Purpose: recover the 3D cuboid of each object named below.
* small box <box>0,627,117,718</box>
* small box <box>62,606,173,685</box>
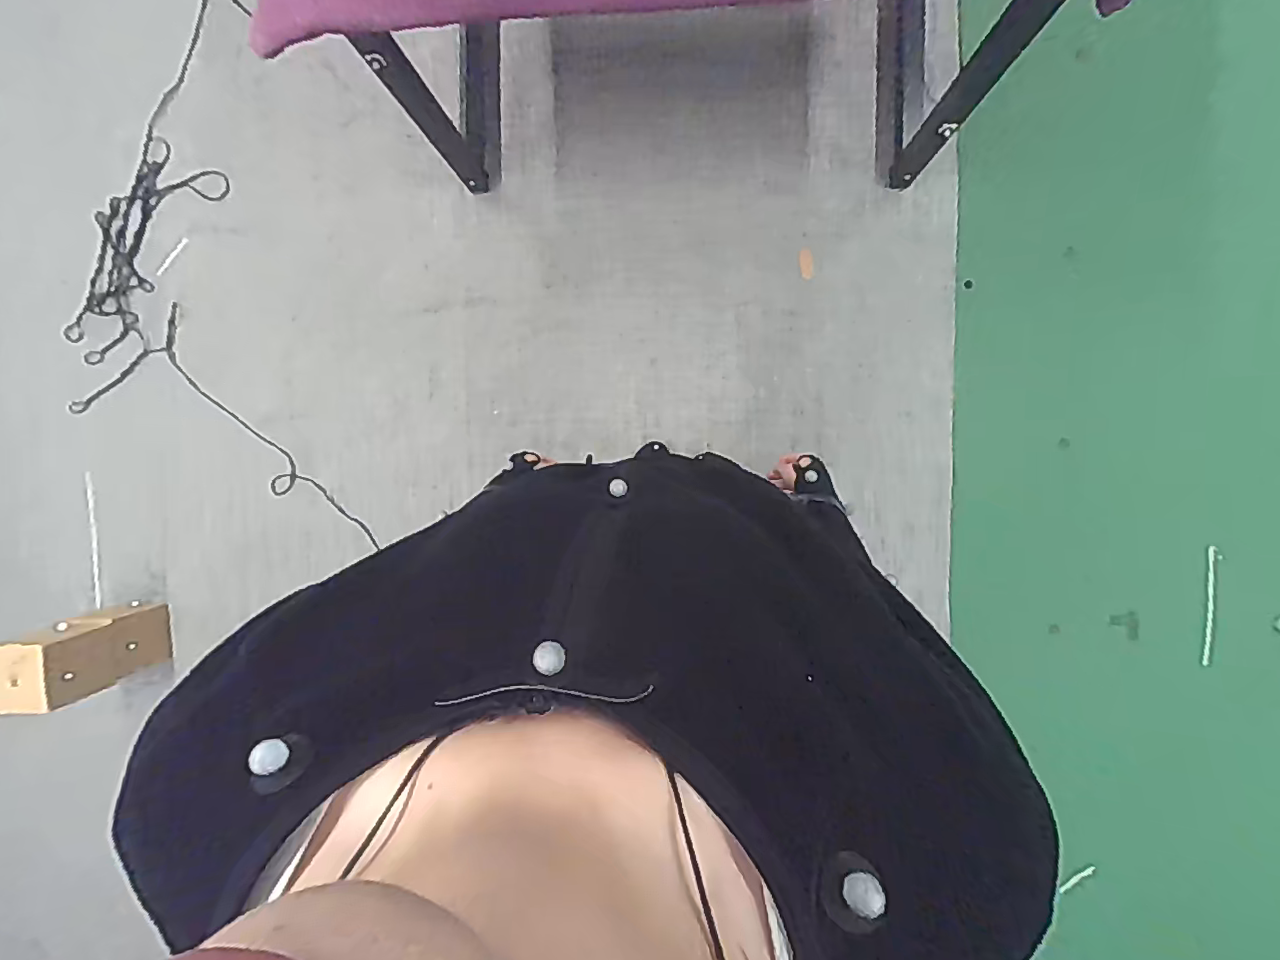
[{"bbox_3d":[-1.519,0.494,1.407,0.168,0.176,0.179,-2,93,4],"label":"small box"},{"bbox_3d":[-1.506,0.476,1.570,0.168,0.176,0.179,-2,92,4],"label":"small box"}]
